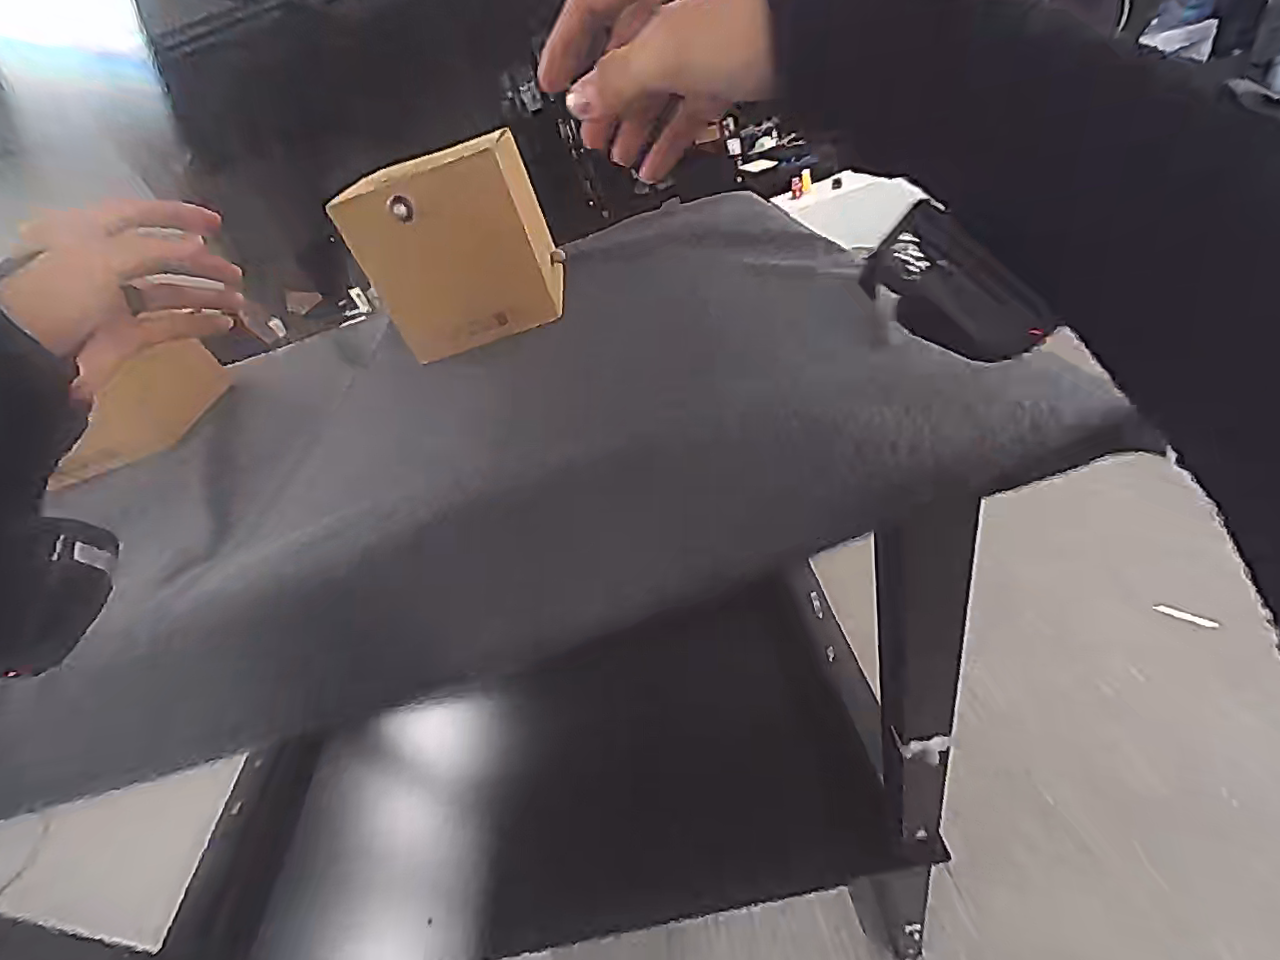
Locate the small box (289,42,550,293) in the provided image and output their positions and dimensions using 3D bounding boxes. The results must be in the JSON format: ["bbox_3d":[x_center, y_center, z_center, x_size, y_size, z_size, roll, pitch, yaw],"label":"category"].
[{"bbox_3d":[-0.199,-0.314,0.552,0.168,0.176,0.179,-16,38,5],"label":"small box"}]
